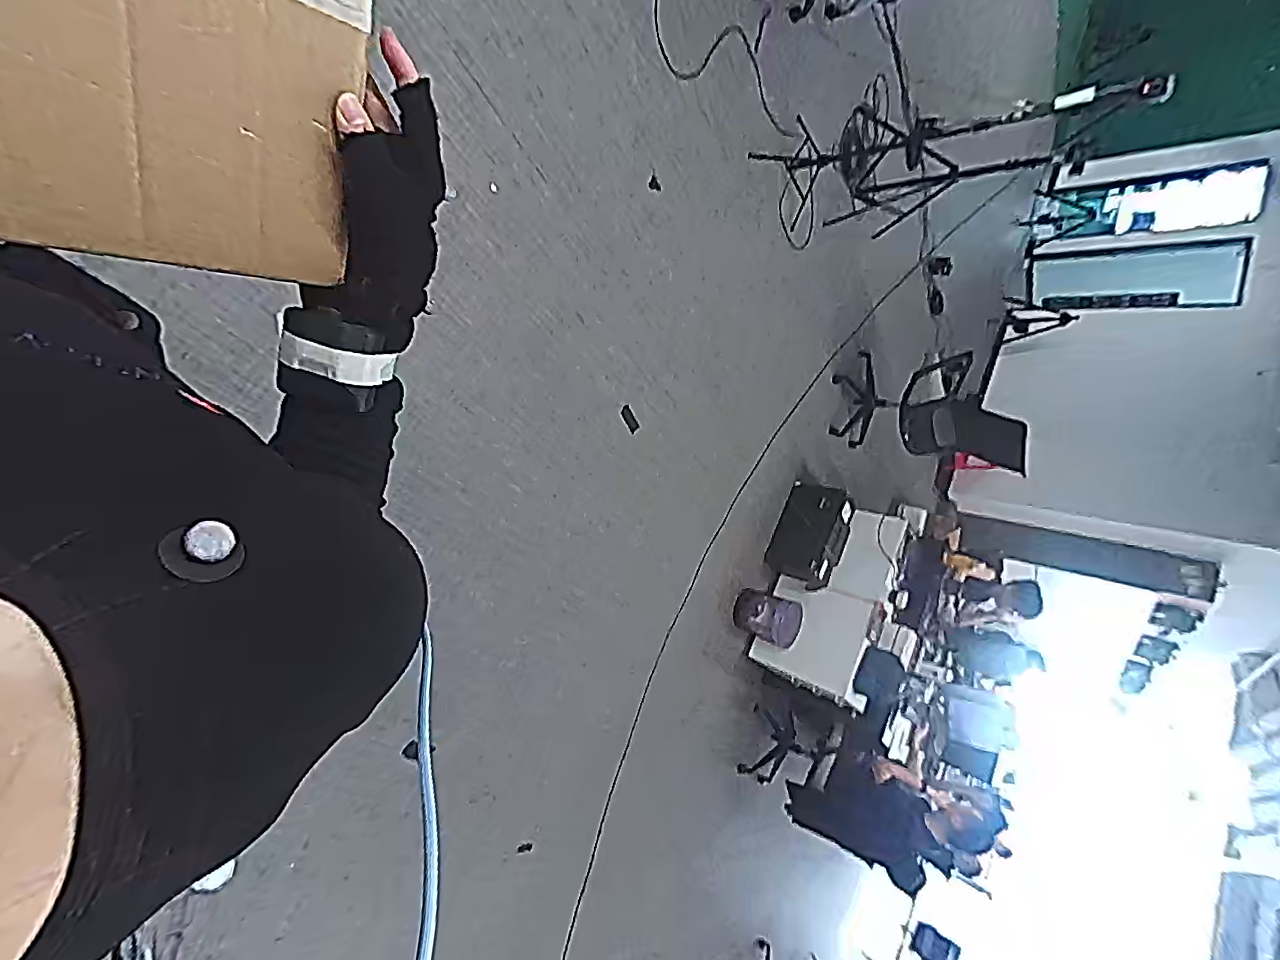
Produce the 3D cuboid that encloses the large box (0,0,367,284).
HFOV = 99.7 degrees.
[{"bbox_3d":[-0.391,-0.323,0.253,0.408,0.320,0.320,-8,131,-44],"label":"large box"}]
